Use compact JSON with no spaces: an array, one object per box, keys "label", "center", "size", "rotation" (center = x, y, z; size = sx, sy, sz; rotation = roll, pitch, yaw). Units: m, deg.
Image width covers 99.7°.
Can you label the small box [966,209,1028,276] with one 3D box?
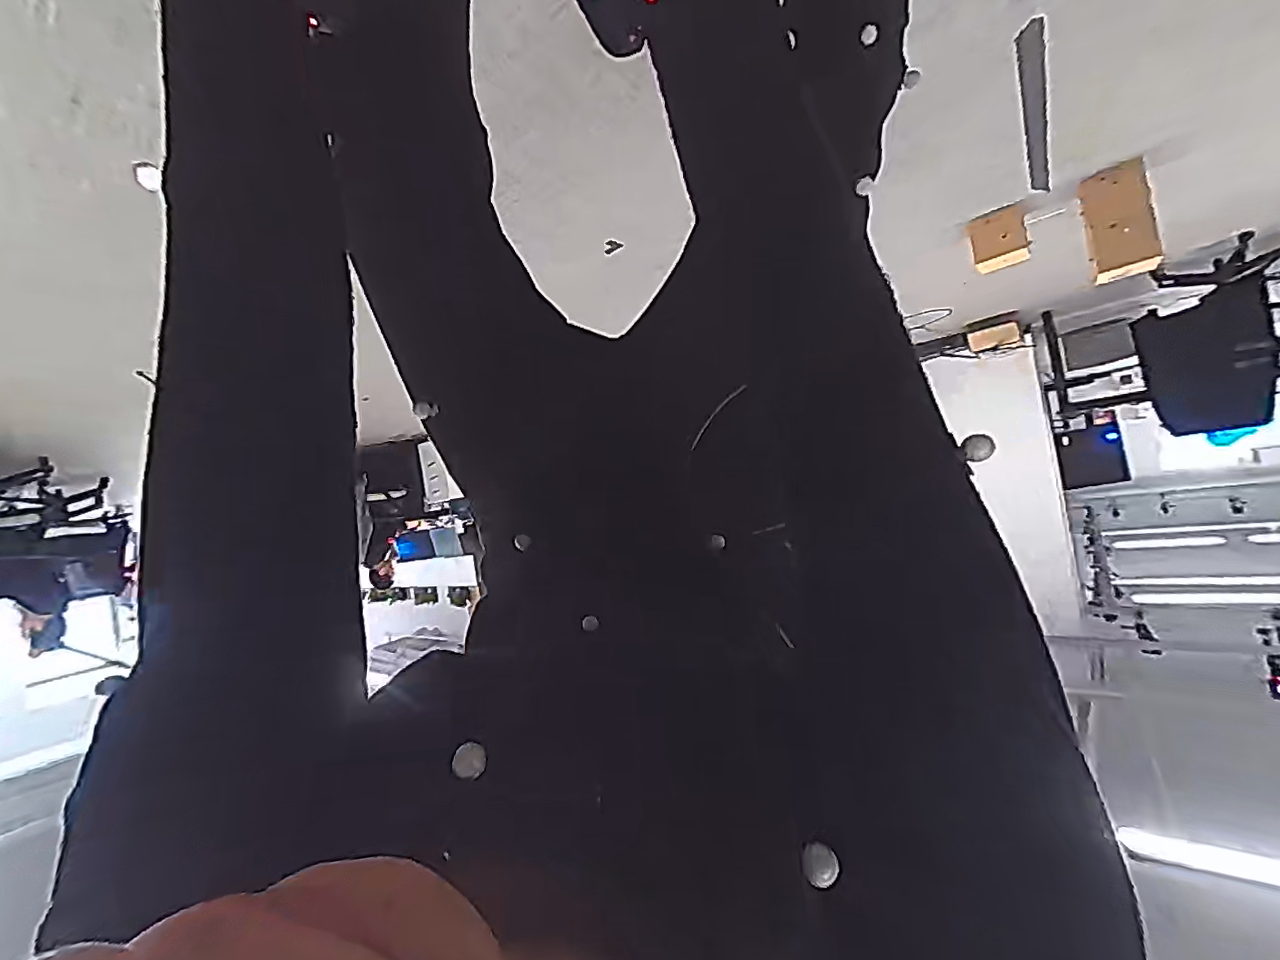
[{"label":"small box","center":[1.373,-0.911,2.076],"size":[0.168,0.176,0.179],"rotation":[-10,179,41]}]

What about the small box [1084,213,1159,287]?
[{"label":"small box","center":[1.658,-0.795,1.871],"size":[0.168,0.176,0.179],"rotation":[-11,177,37]}]
